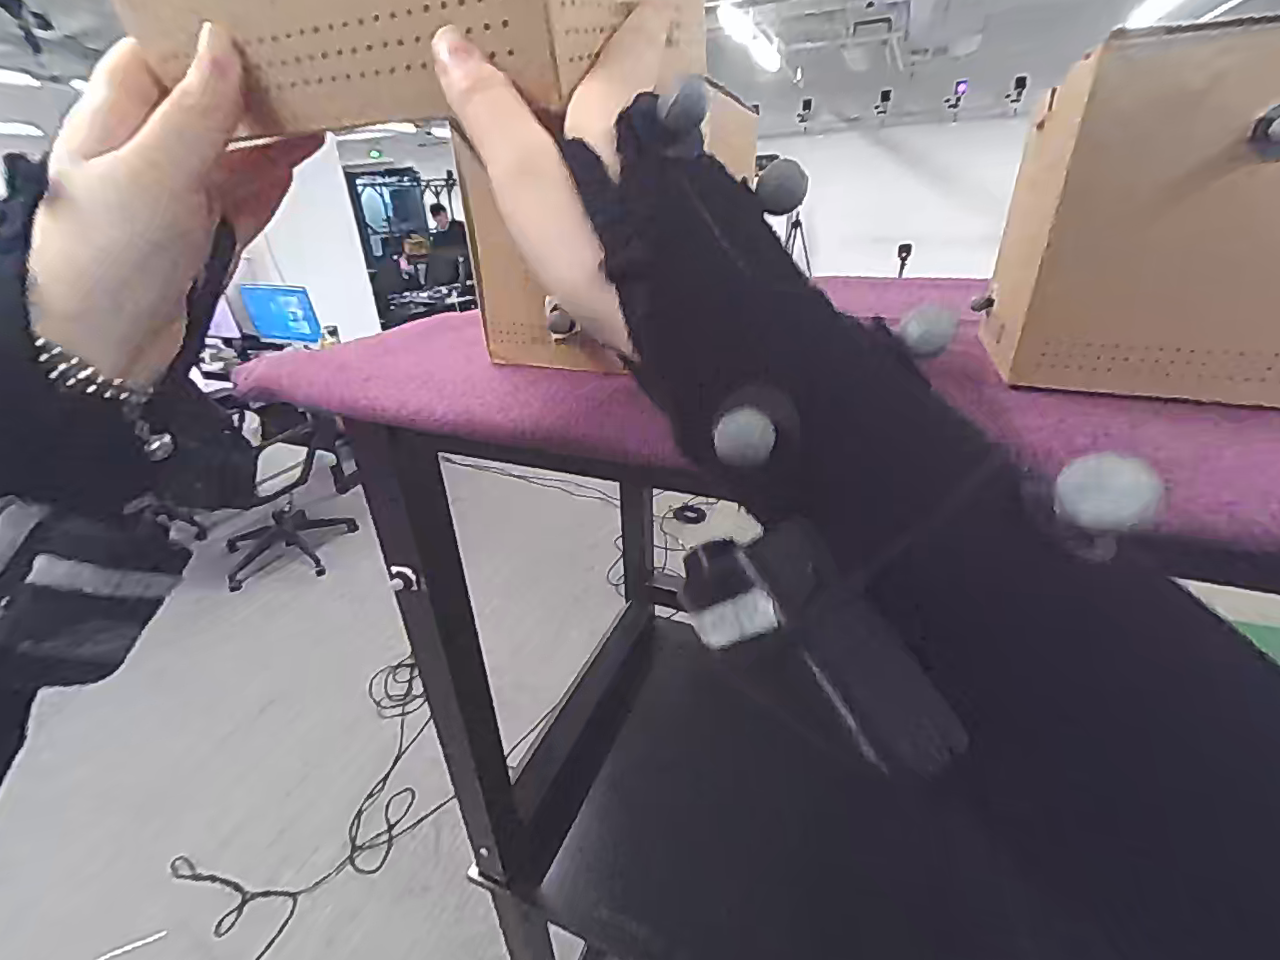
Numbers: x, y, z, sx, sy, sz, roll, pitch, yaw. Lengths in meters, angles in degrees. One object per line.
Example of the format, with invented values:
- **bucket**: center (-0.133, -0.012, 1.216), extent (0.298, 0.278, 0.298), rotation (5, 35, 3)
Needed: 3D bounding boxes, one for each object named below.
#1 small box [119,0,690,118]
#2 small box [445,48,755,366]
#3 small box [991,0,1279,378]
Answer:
- **small box**: center (-0.089, -0.241, 0.191), extent (0.179, 0.176, 0.168), rotation (8, 42, 19)
- **small box**: center (-0.012, -0.195, 0.408), extent (0.168, 0.176, 0.179), rotation (6, 30, 19)
- **small box**: center (0.322, -0.160, 0.310), extent (0.179, 0.176, 0.168), rotation (10, 29, 22)
